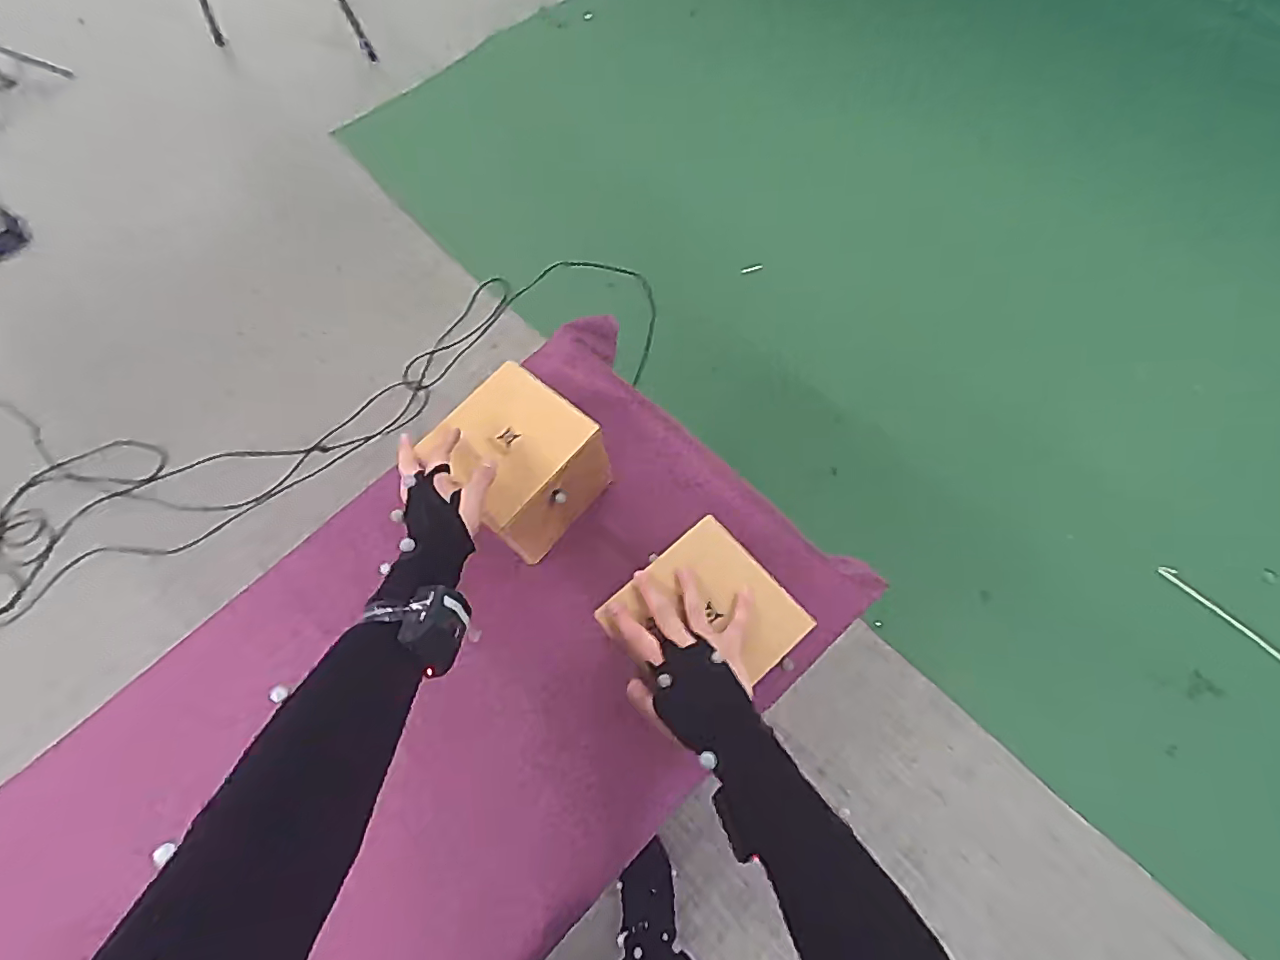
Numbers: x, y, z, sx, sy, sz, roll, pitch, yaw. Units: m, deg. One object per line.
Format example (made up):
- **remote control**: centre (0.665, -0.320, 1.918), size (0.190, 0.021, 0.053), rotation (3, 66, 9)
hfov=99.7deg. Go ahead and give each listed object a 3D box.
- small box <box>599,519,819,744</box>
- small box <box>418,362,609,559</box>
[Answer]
- **small box**: centre (0.074, 0.179, 0.640), size (0.179, 0.176, 0.168), rotation (-39, 70, -11)
- **small box**: centre (-0.157, -0.019, 0.742), size (0.168, 0.176, 0.179), rotation (38, 76, 17)
